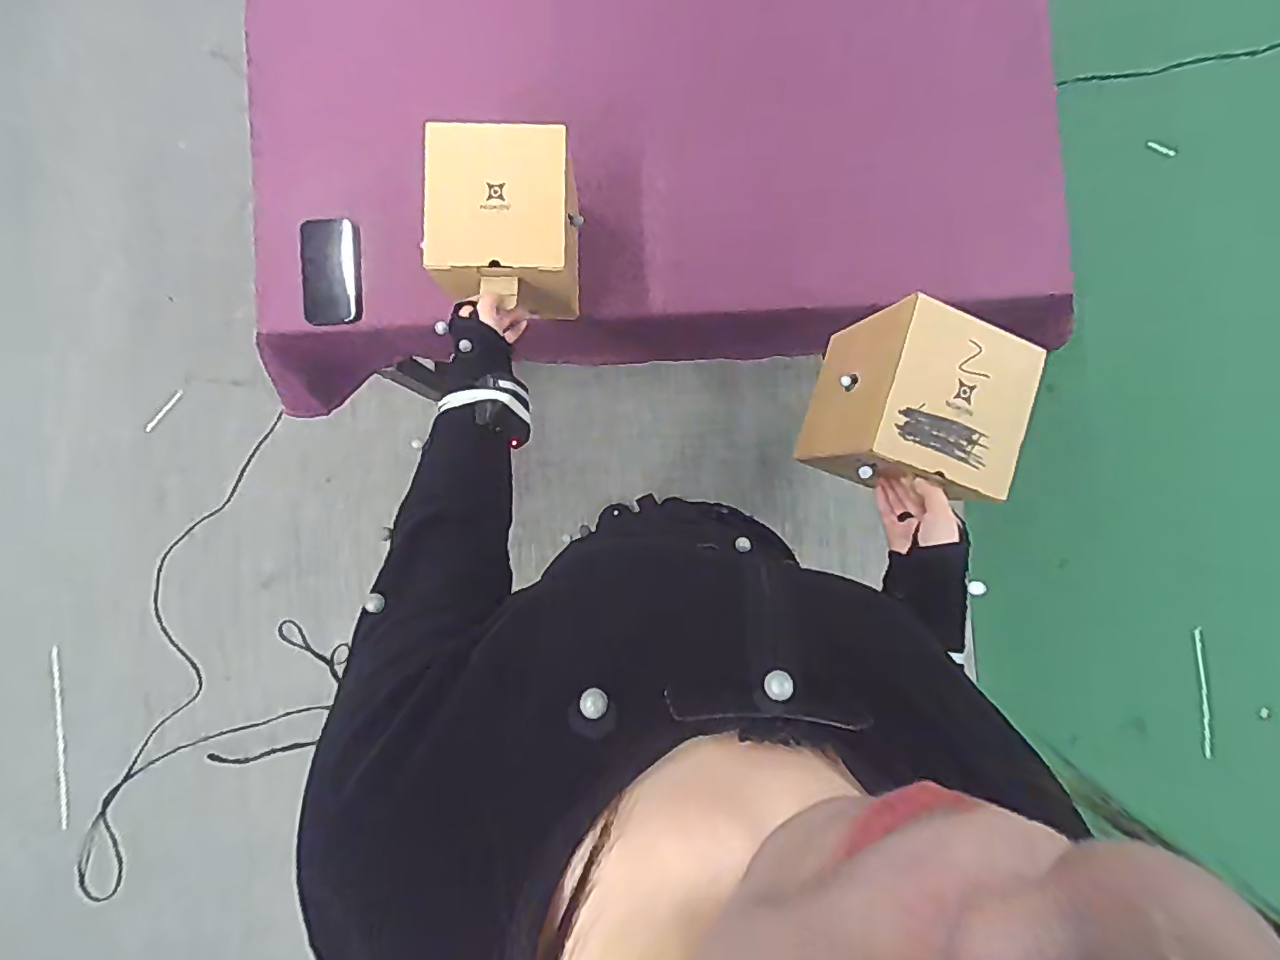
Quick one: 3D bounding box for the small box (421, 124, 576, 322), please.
[{"bbox_3d":[-0.174,-0.323,0.709,0.168,0.176,0.179,0,88,-3],"label":"small box"}]
